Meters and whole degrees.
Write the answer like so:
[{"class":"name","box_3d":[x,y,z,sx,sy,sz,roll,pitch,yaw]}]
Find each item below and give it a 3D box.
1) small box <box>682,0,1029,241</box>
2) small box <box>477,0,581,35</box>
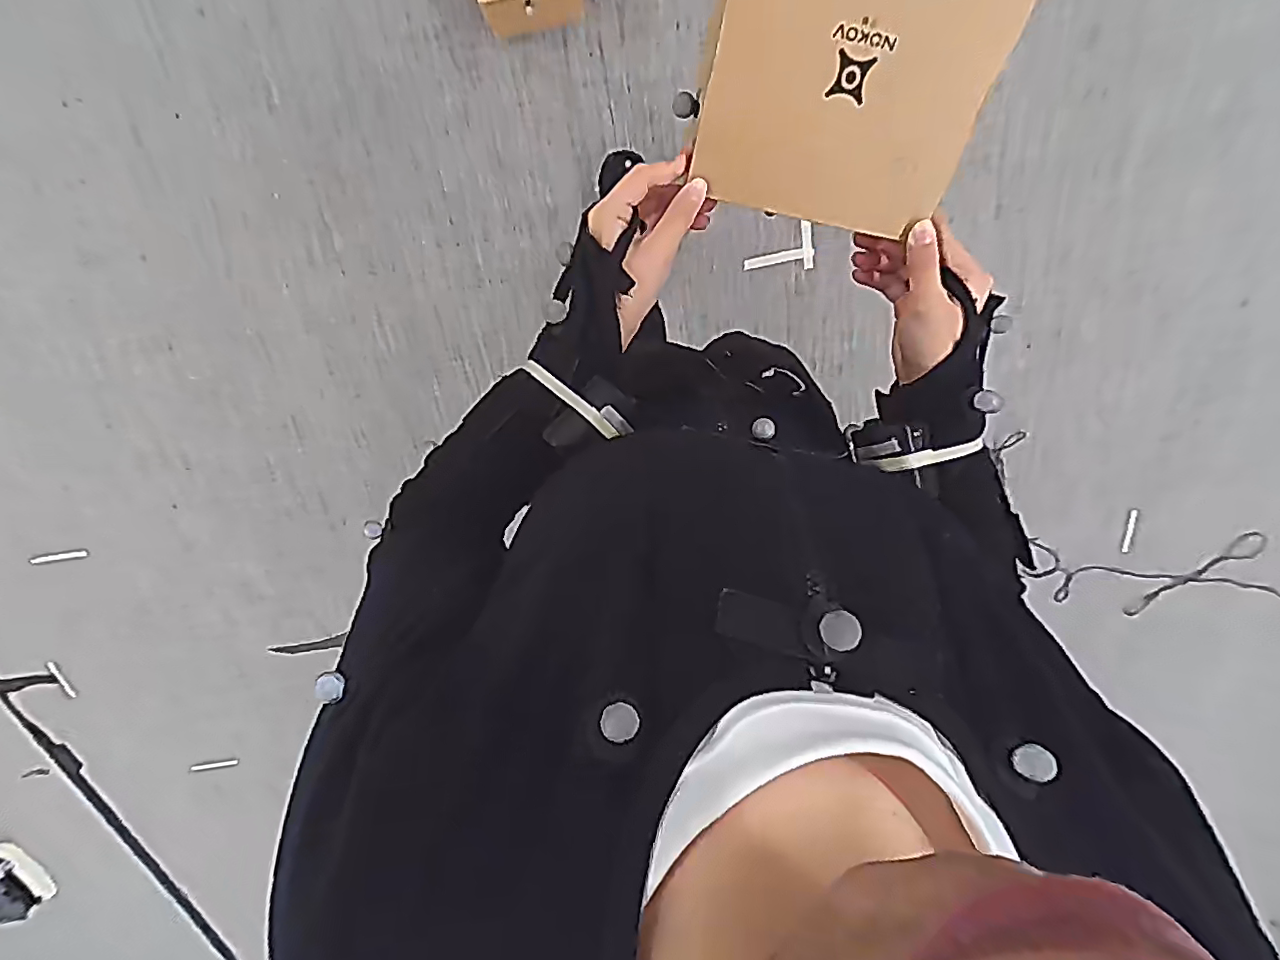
[{"class":"small box","box_3d":[0.129,-0.295,0.379,0.168,0.176,0.179,10,127,-5]},{"class":"small box","box_3d":[-0.201,-0.908,0.932,0.179,0.176,0.168,-10,114,2]}]
